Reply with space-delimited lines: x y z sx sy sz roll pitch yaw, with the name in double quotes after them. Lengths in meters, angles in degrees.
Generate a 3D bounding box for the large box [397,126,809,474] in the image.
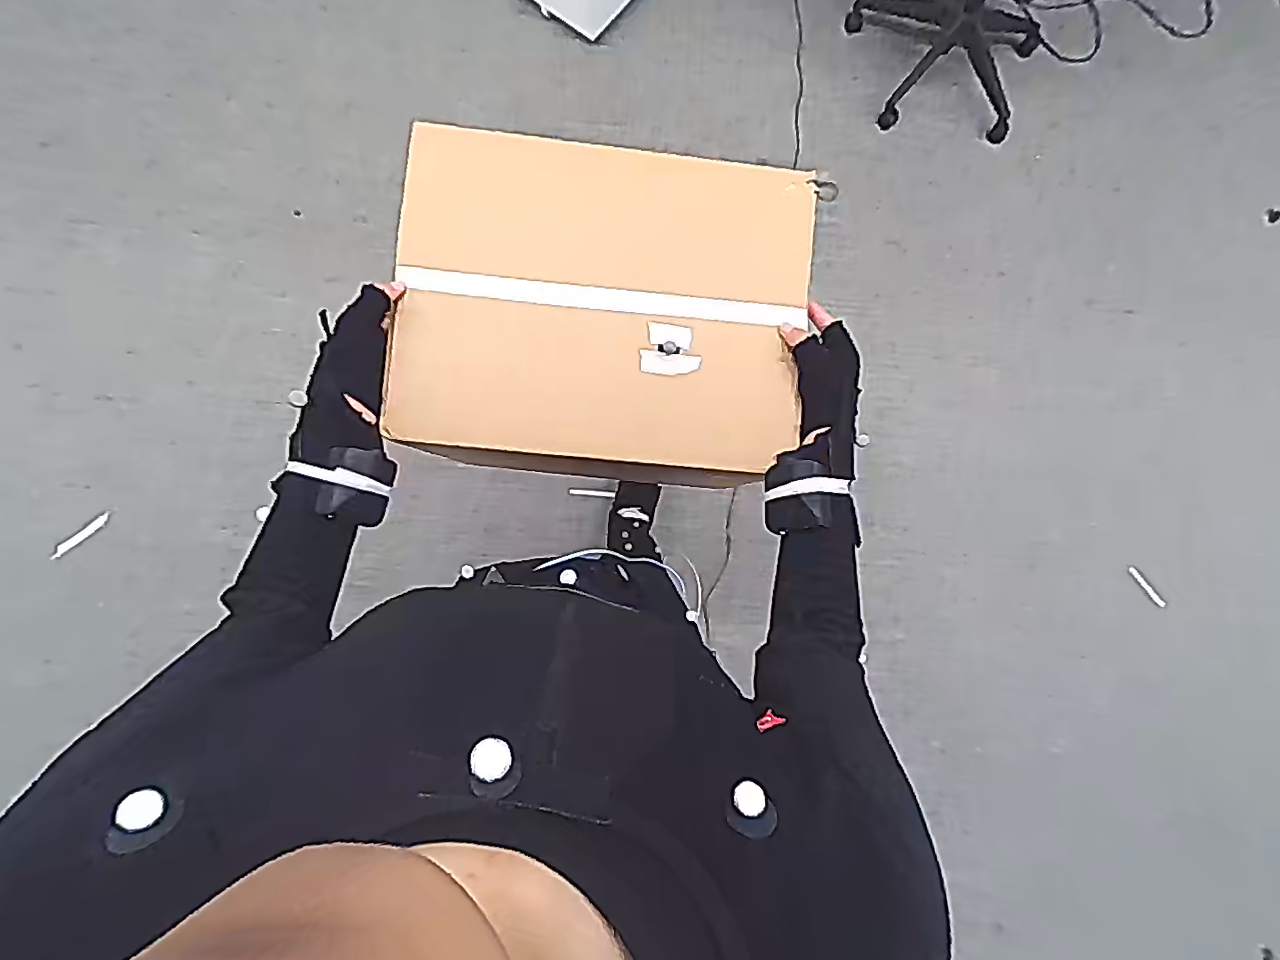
-0.043 -0.182 0.695 0.408 0.320 0.320 5 88 -4 "large box"
